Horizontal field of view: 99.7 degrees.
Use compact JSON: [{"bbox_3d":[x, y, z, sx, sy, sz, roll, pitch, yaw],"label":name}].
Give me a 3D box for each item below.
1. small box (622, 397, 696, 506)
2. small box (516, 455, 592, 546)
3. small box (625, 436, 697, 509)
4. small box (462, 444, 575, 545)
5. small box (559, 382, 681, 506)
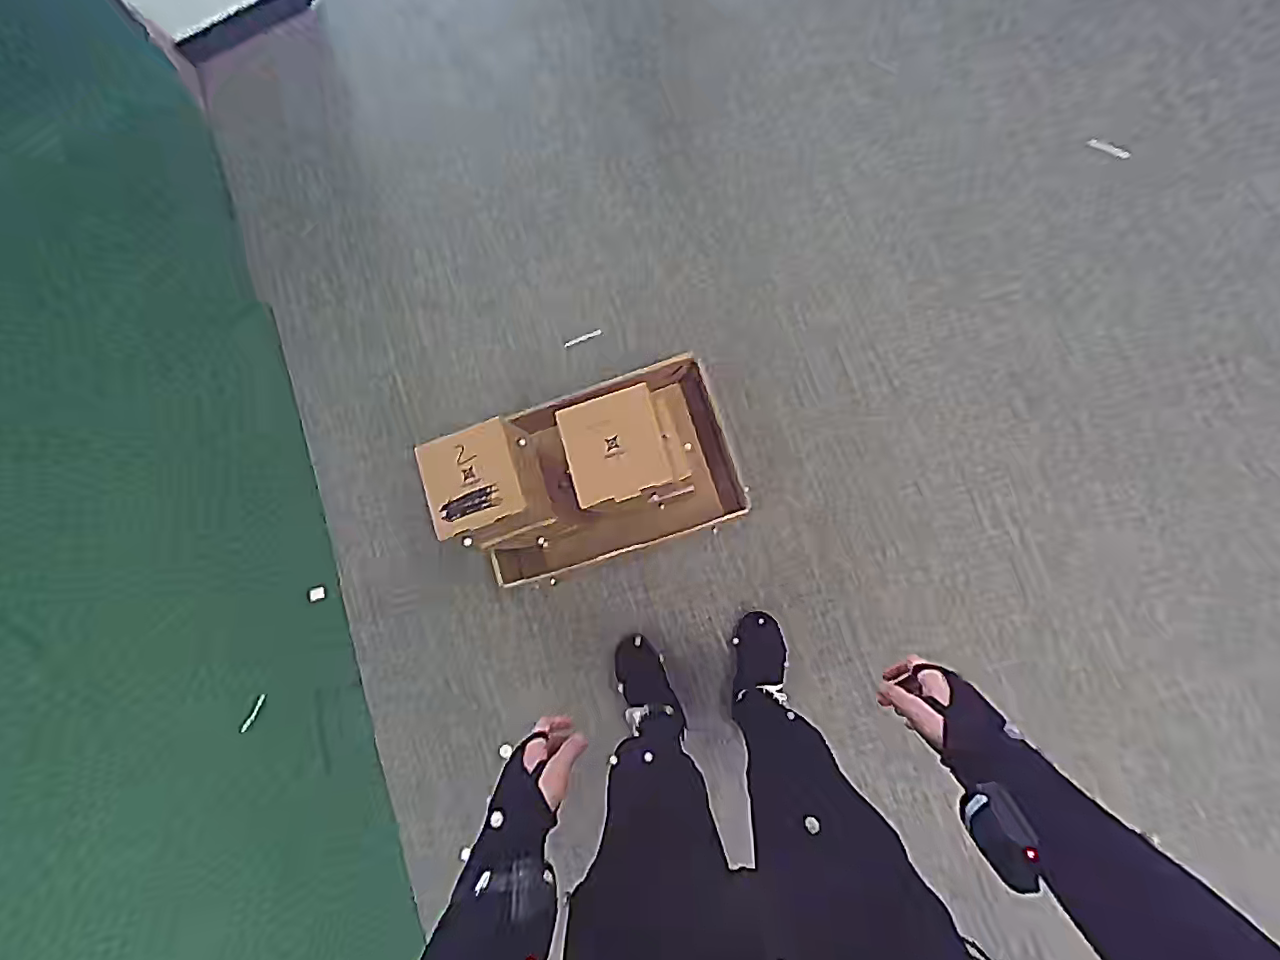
[{"bbox_3d":[0.010,-0.050,1.136,0.179,0.176,0.168,-21,82,6],"label":"small box"},{"bbox_3d":[-0.228,0.053,1.328,0.168,0.176,0.179,-19,82,5],"label":"small box"},{"bbox_3d":[0.036,-0.031,1.297,0.168,0.176,0.179,-17,81,7],"label":"small box"},{"bbox_3d":[-0.250,0.037,1.164,0.179,0.176,0.168,-19,80,4],"label":"small box"},{"bbox_3d":[-0.028,-0.054,0.976,0.168,0.176,0.179,-16,81,6],"label":"small box"}]
